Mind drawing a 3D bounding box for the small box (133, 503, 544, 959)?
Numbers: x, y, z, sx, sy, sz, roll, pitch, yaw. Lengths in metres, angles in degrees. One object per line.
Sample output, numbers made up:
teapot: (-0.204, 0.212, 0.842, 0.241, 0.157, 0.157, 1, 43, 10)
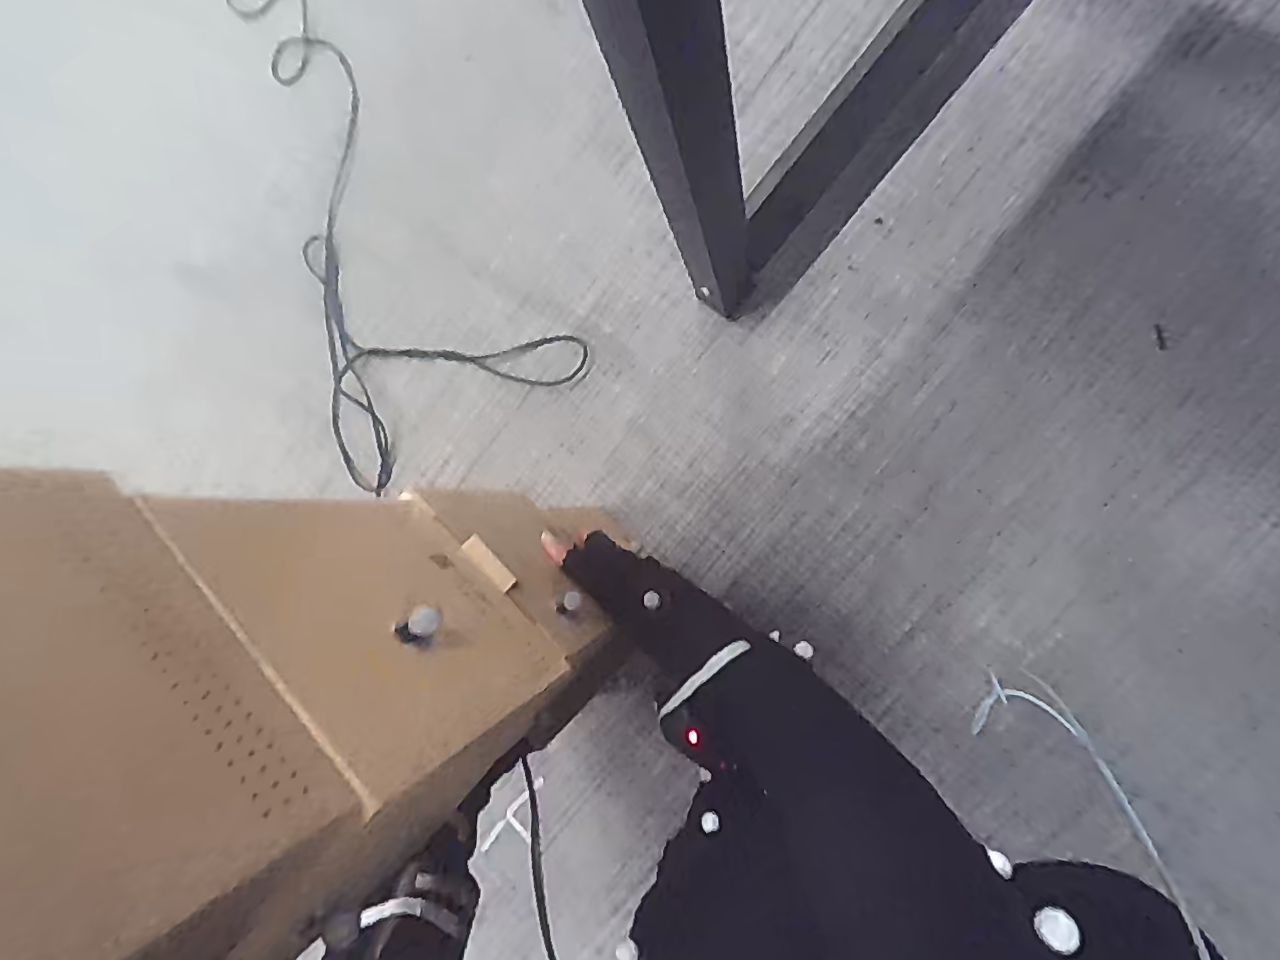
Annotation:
small box: (-0.177, 0.126, 0.297, 0.168, 0.176, 0.179, 43, 100, 13)
